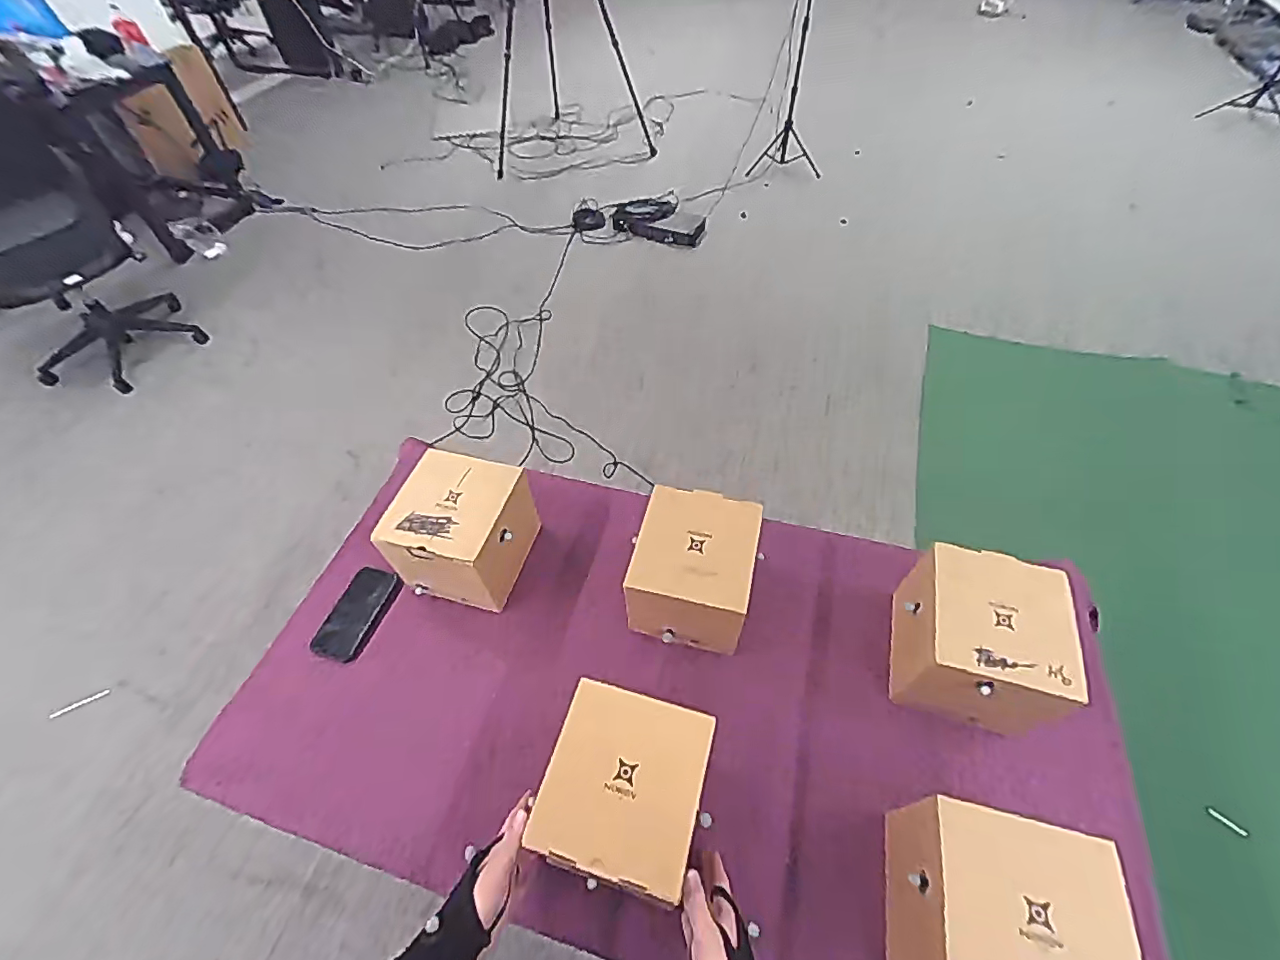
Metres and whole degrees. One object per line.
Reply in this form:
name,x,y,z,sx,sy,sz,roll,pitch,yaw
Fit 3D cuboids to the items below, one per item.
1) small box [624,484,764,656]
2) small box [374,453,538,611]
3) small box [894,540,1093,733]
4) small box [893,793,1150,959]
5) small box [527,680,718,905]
small box,0.082,0.136,0.809,0.168,0.176,0.179,11,55,12
small box,-0.276,0.087,0.864,0.168,0.176,0.179,11,54,11
small box,0.455,0.212,0.729,0.168,0.176,0.179,12,54,13
small box,0.367,0.448,0.549,0.168,0.176,0.179,10,54,12
small box,-0.012,0.367,0.636,0.168,0.176,0.179,12,54,12
